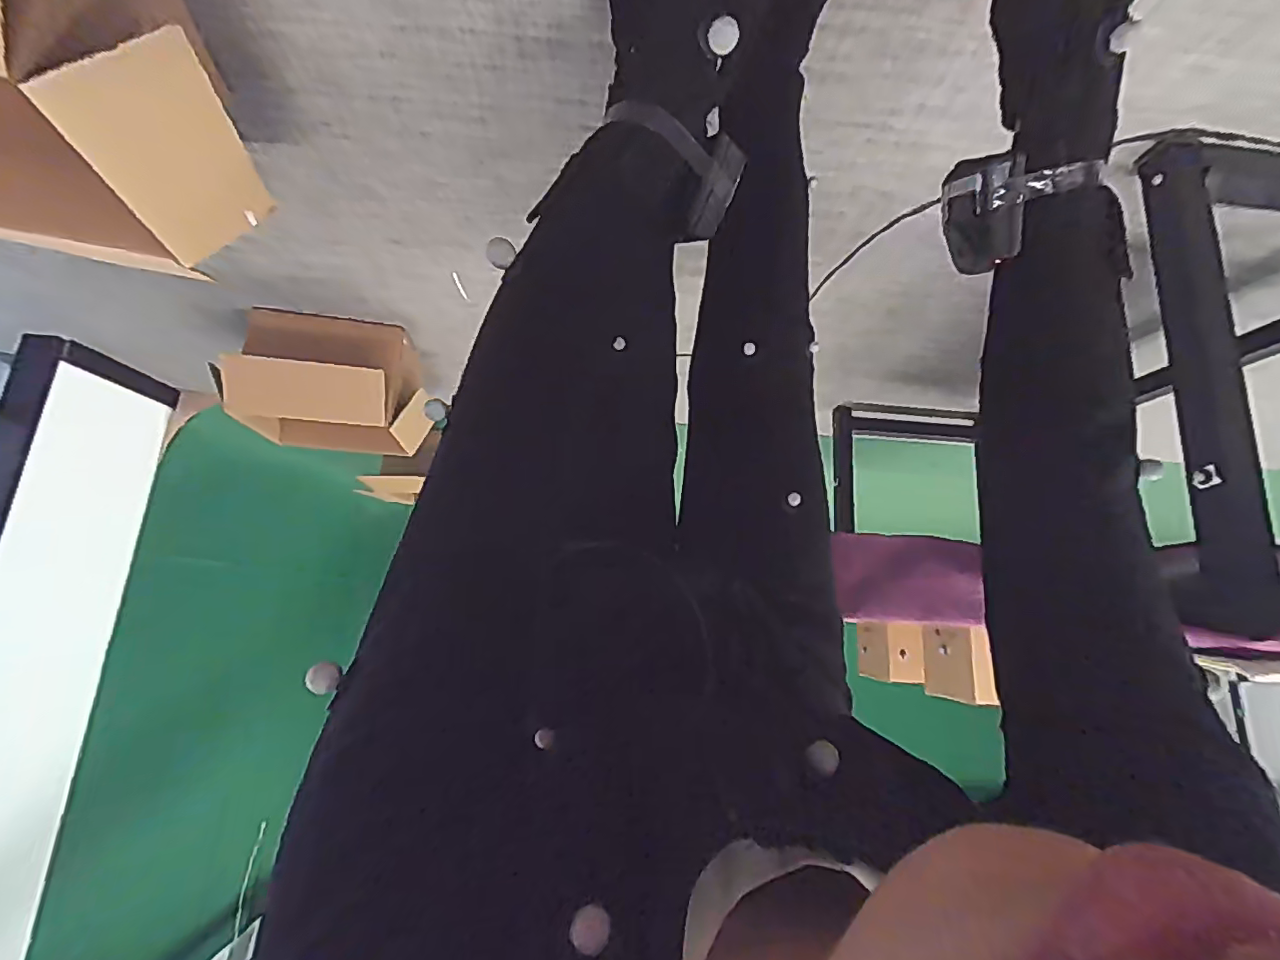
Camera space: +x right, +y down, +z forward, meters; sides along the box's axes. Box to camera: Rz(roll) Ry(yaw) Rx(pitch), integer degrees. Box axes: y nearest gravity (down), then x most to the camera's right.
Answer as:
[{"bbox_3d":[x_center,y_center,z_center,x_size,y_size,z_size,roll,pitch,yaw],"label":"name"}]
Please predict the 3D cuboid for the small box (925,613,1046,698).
[{"bbox_3d":[0.798,0.404,1.262,0.179,0.176,0.168,5,167,-8],"label":"small box"}]
